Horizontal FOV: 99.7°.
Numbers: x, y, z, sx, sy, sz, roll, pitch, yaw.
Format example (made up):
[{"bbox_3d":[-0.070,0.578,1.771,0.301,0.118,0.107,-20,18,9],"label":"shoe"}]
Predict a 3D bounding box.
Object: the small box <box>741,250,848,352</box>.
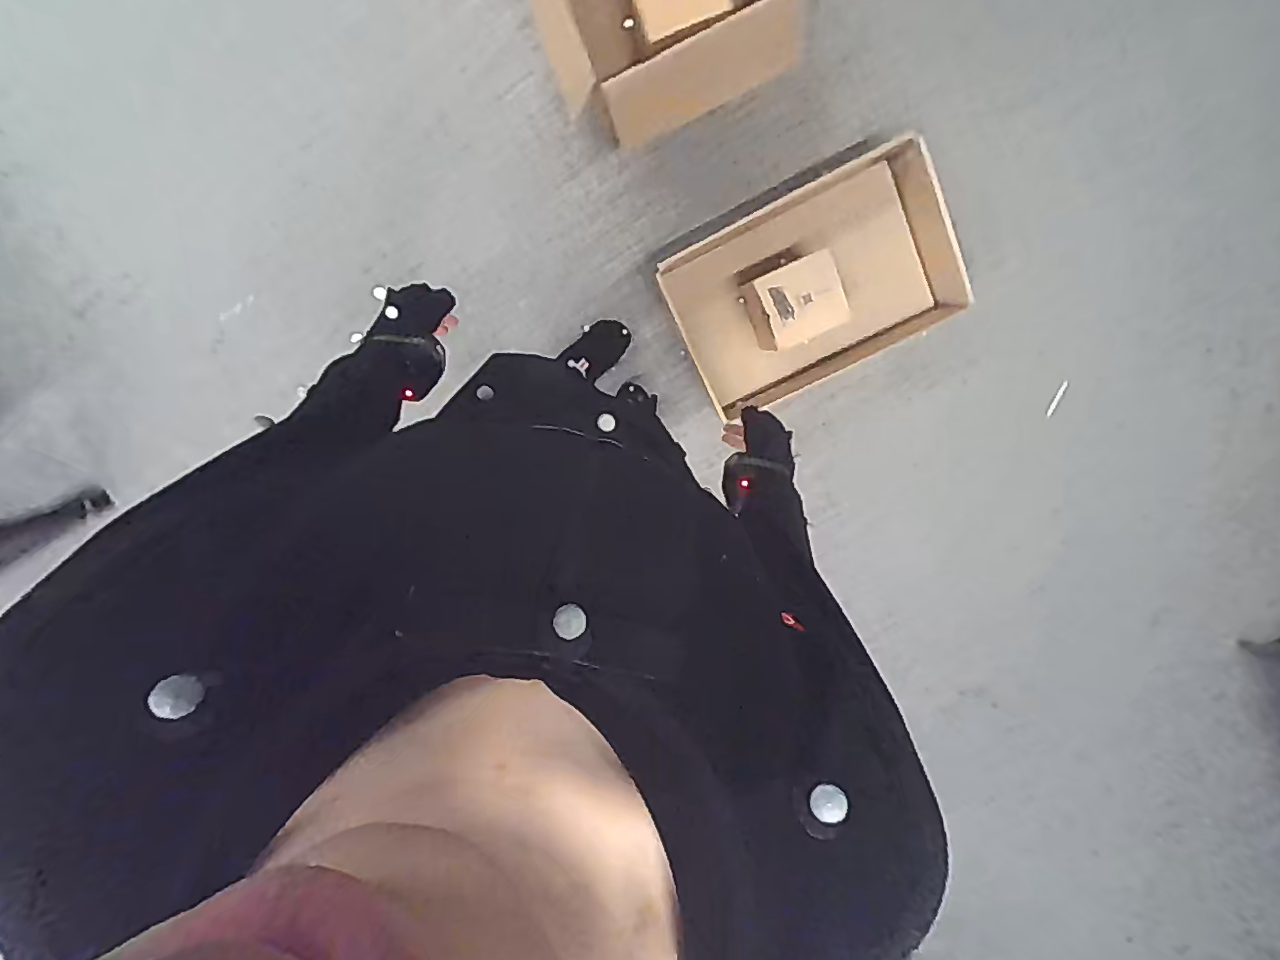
[{"bbox_3d":[0.346,-0.405,1.249,0.179,0.176,0.168,-23,104,4],"label":"small box"}]
